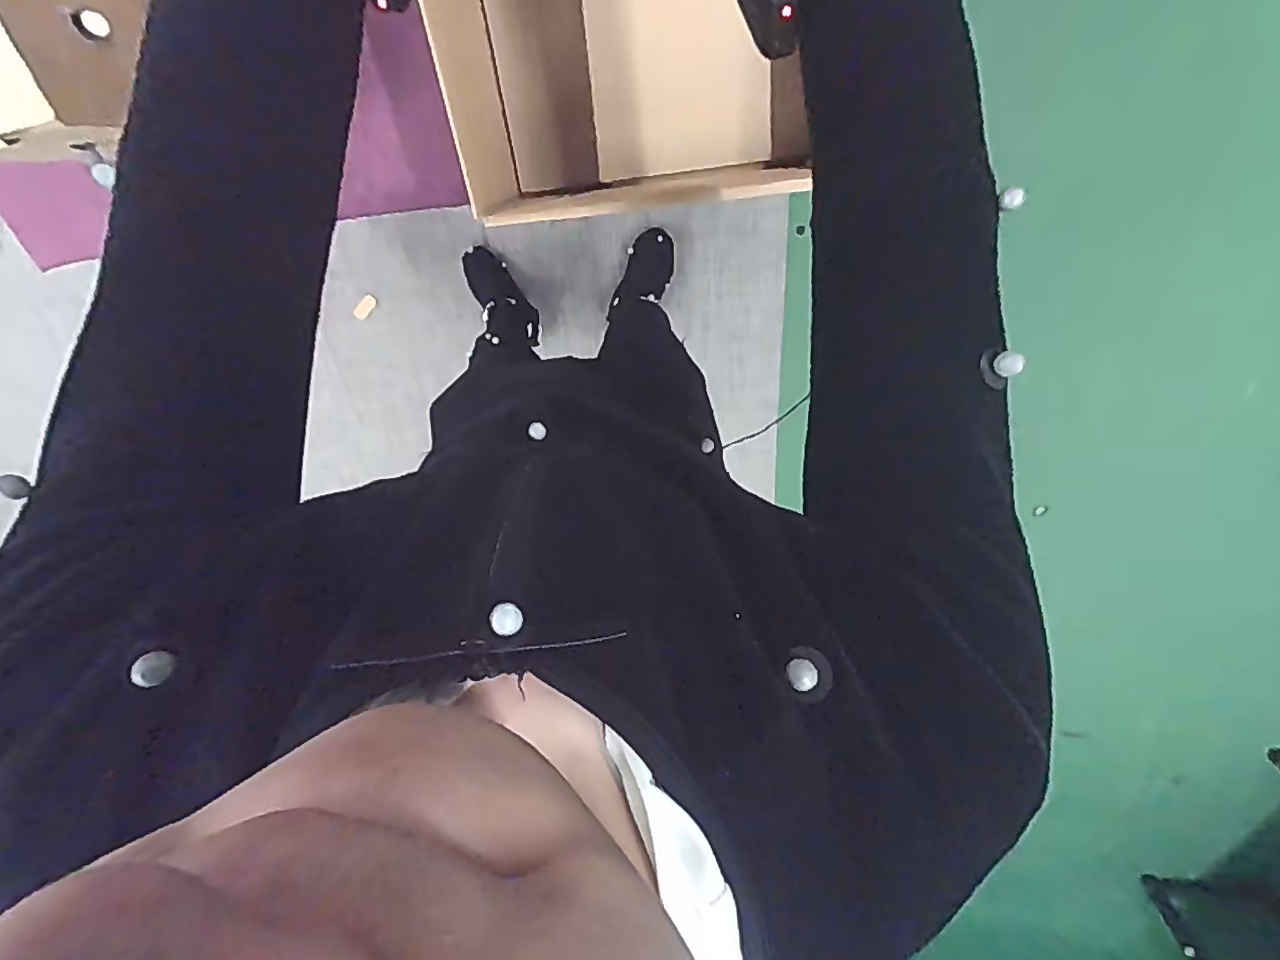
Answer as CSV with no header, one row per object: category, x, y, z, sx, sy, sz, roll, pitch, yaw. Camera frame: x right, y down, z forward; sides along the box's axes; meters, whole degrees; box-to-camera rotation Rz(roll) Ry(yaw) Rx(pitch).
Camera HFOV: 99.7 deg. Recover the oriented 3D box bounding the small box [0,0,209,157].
small box,-0.520,-0.375,0.445,0.168,0.176,0.179,-5,121,7
